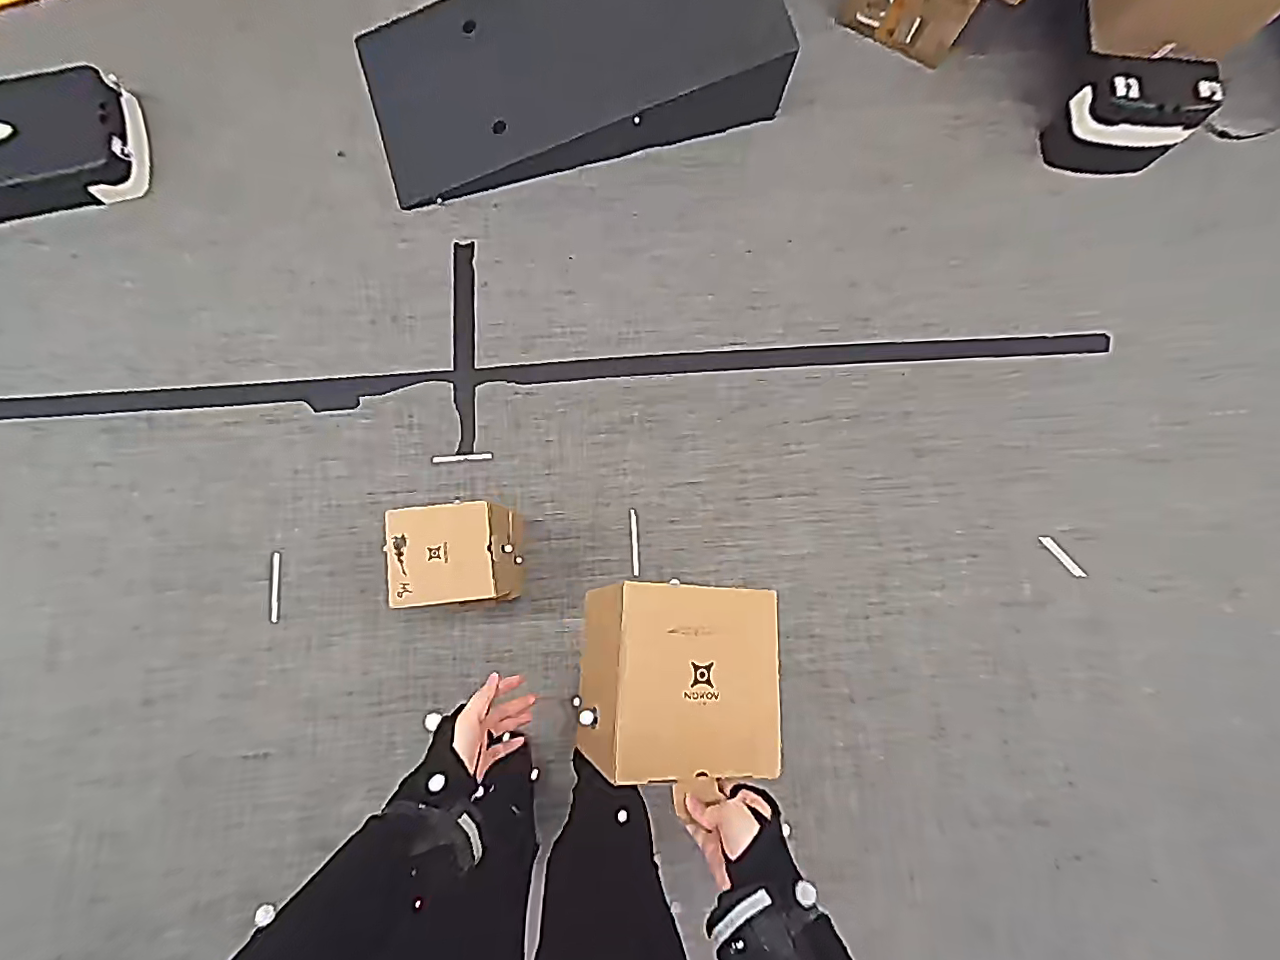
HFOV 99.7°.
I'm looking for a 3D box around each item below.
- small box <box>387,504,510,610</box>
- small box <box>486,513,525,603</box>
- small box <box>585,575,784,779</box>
[{"bbox_3d":[-0.334,0.137,0.972,0.179,0.176,0.168,-5,82,-4],"label":"small box"},{"bbox_3d":[-0.337,0.162,1.135,0.168,0.176,0.179,0,81,-3],"label":"small box"},{"bbox_3d":[0.039,0.204,0.581,0.168,0.176,0.179,8,72,-15],"label":"small box"}]
